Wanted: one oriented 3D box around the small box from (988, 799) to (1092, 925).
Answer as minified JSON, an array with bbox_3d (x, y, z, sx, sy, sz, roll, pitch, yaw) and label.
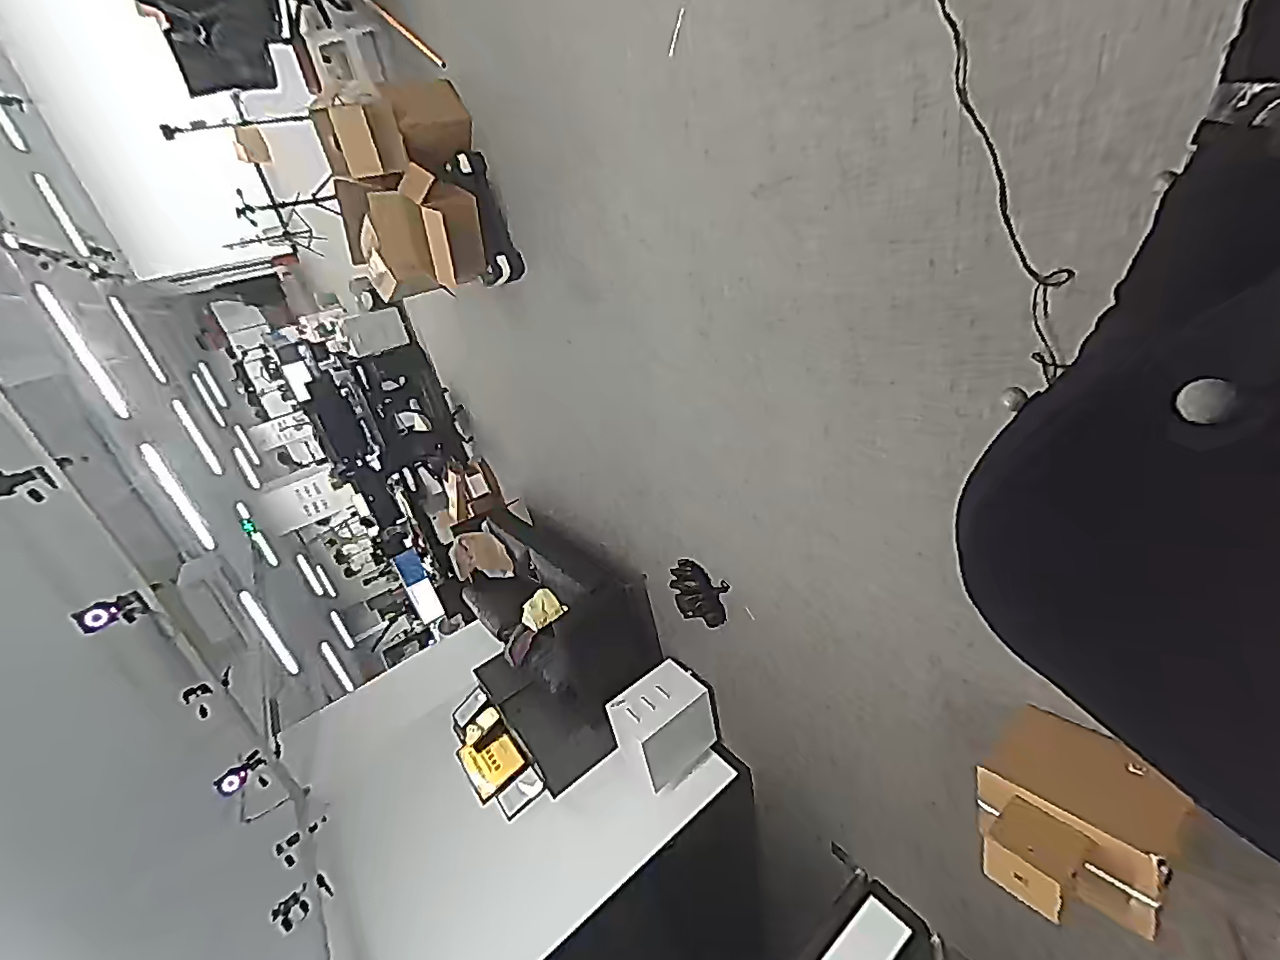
[{"bbox_3d":[1.051,0.991,1.422,0.179,0.176,0.168,18,128,54],"label":"small box"}]
